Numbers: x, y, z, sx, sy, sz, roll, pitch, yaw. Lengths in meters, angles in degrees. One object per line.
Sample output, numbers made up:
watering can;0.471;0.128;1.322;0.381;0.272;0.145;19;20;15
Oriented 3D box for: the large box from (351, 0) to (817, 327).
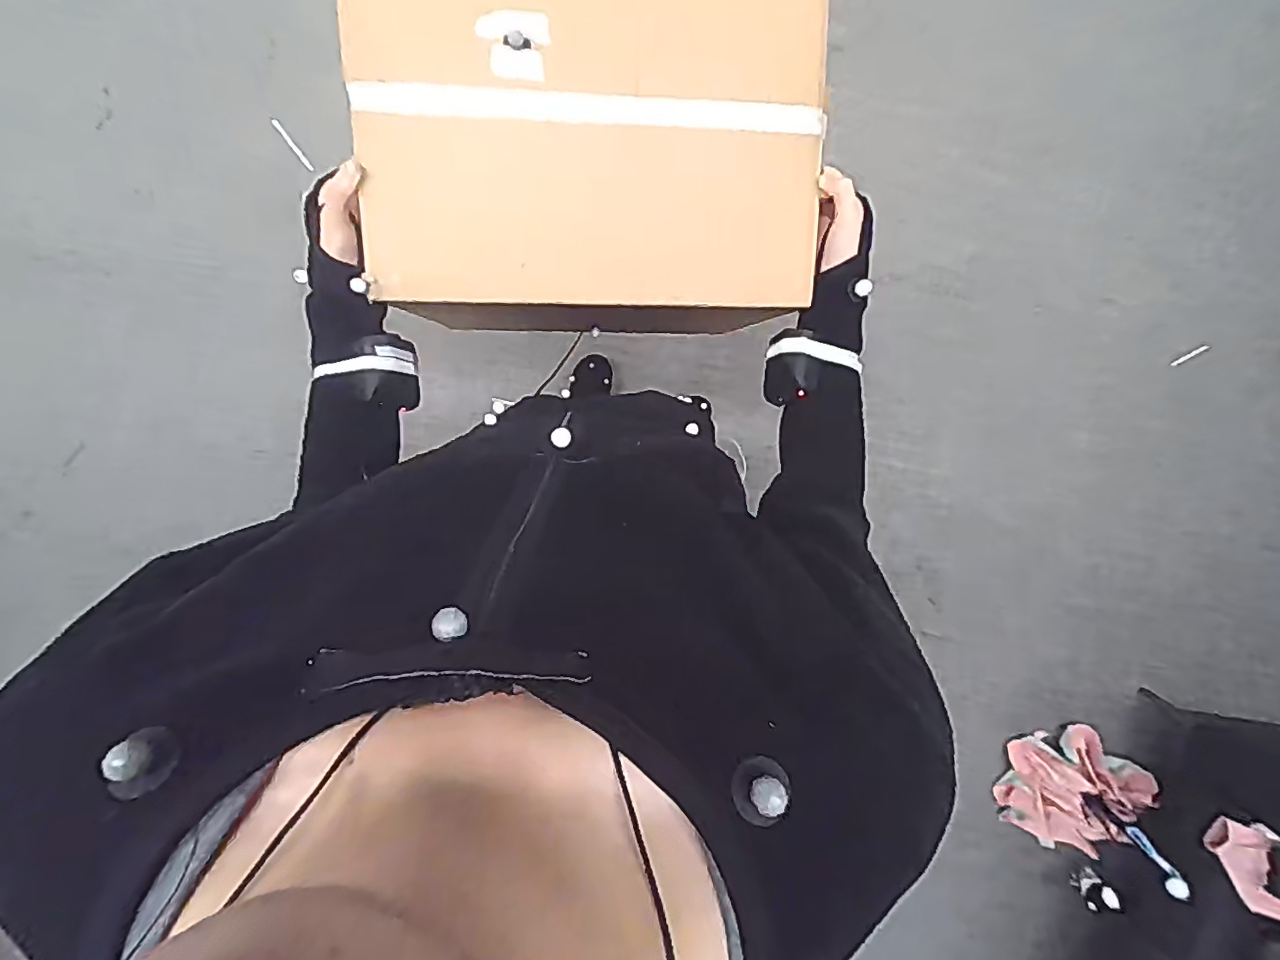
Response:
large box;-0.053;-0.344;0.623;0.408;0.320;0.320;-1;101;-6
